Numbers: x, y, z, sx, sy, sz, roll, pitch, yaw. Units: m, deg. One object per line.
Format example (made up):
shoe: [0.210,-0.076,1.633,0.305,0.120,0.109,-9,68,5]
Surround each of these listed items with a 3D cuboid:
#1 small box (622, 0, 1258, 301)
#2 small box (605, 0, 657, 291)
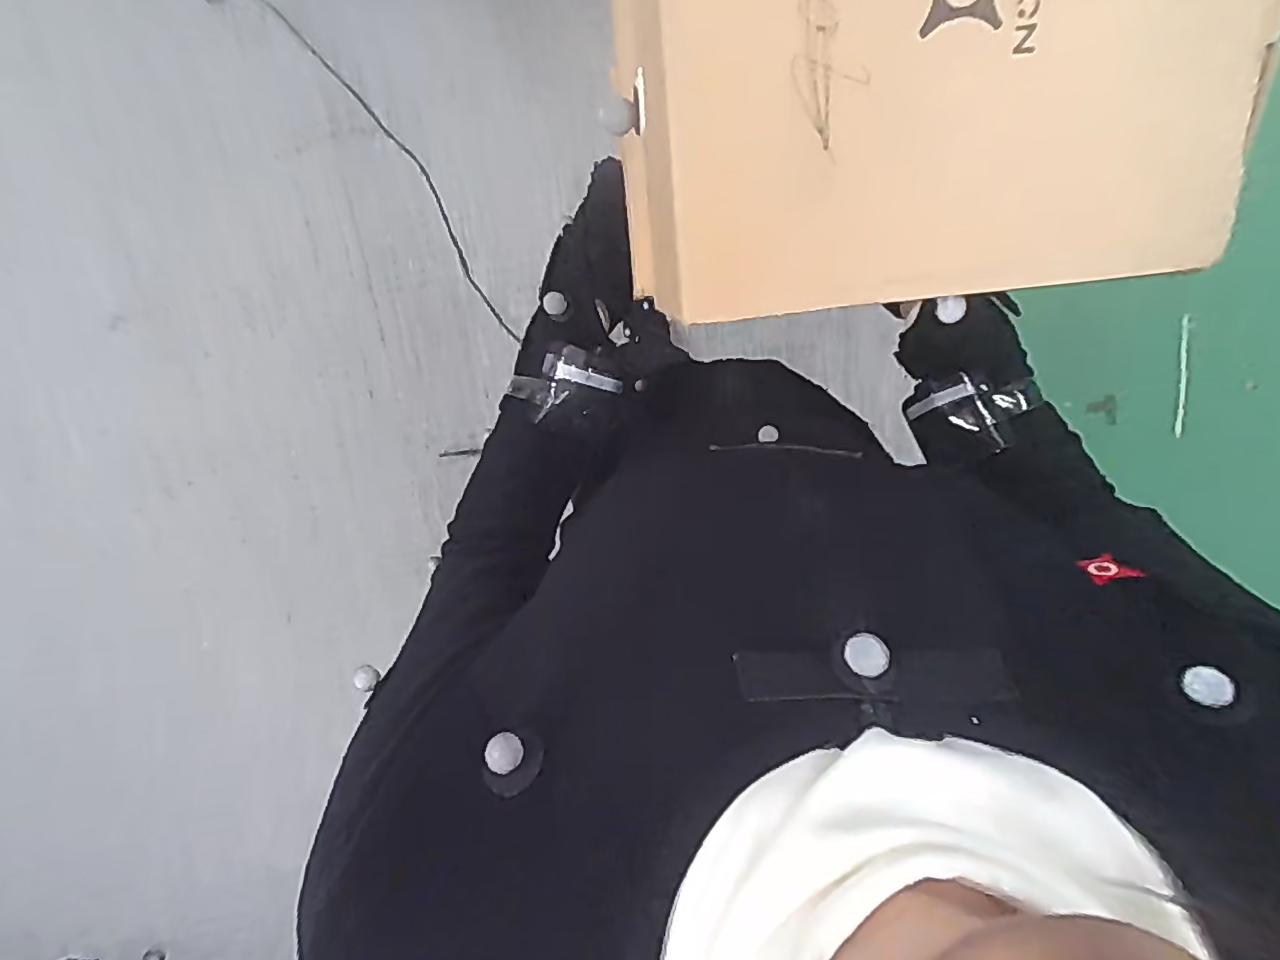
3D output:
small box: [0.085,-0.170,0.222,0.179,0.176,0.168,-6,109,2]
small box: [0.072,-0.230,0.375,0.179,0.176,0.168,-7,110,1]
